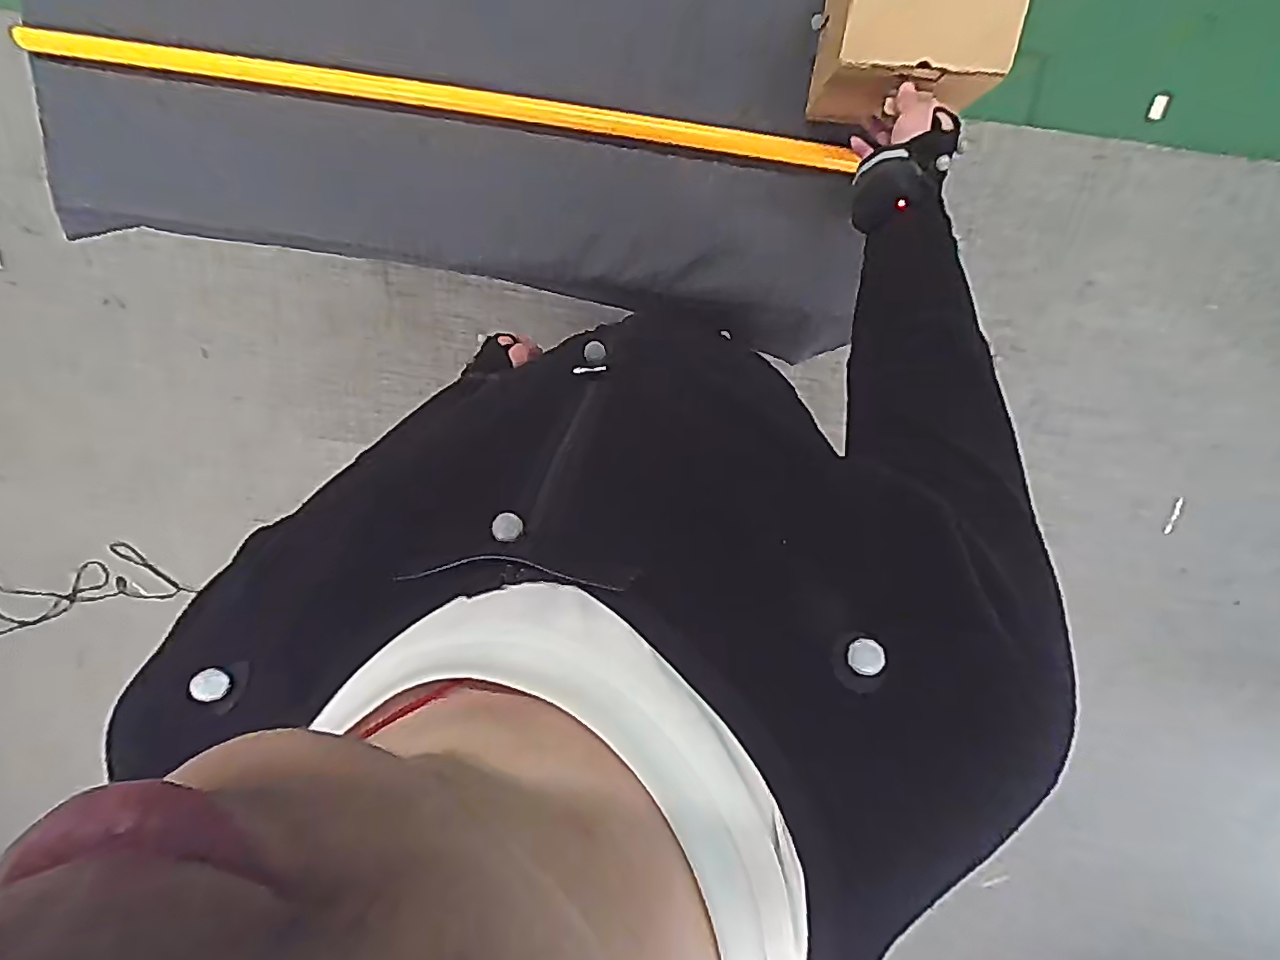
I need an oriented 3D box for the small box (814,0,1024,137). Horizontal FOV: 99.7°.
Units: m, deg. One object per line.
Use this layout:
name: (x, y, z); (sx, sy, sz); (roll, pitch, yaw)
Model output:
small box: (0.296, -0.500, 0.596); (0.168, 0.176, 0.179); (5, 107, 6)
